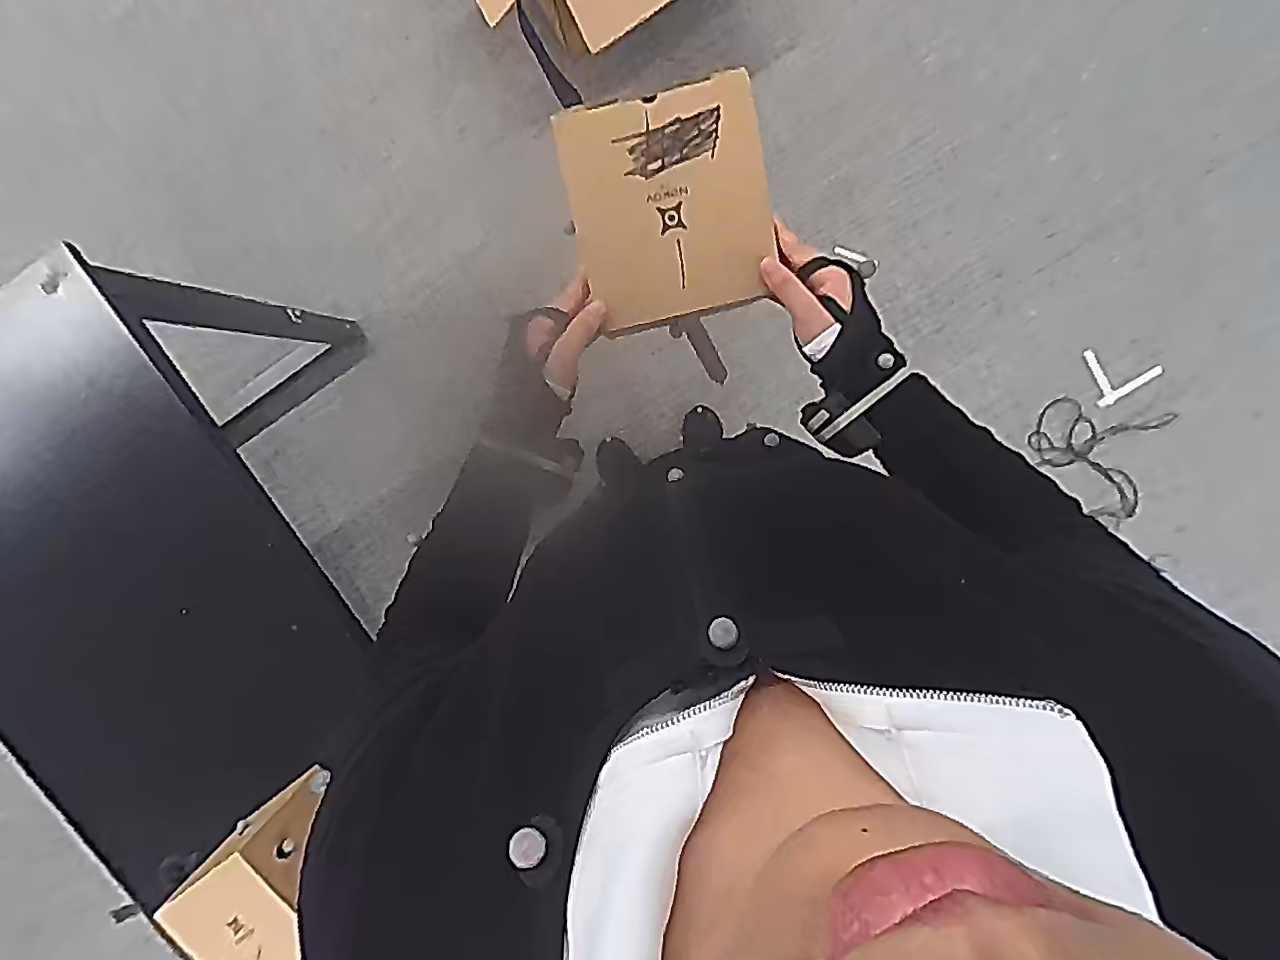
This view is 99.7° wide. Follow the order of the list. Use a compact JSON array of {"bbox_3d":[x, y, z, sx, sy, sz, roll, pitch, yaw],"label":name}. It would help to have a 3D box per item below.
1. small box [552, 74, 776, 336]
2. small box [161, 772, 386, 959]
[{"bbox_3d":[0.021,-0.249,0.536,0.168,0.176,0.179,-13,103,2],"label":"small box"},{"bbox_3d":[-0.524,0.571,0.800,0.168,0.176,0.179,-38,96,8],"label":"small box"}]
